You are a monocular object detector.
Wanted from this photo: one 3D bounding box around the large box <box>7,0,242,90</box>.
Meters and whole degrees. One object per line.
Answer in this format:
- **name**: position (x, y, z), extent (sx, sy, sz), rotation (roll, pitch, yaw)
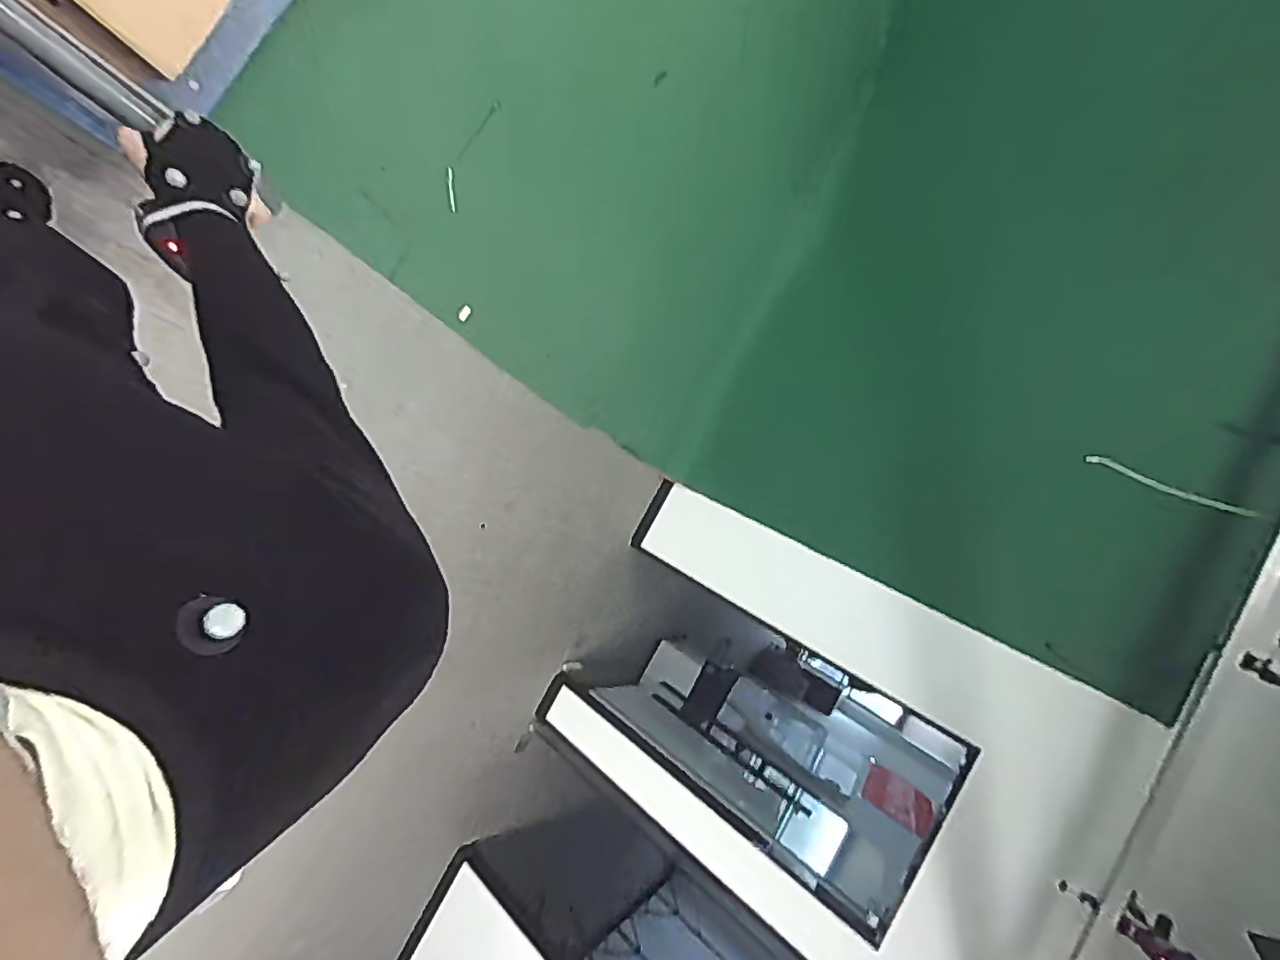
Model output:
- **large box**: position (-0.765, -0.850, 0.763), extent (0.408, 0.320, 0.320), rotation (-61, 149, -5)
